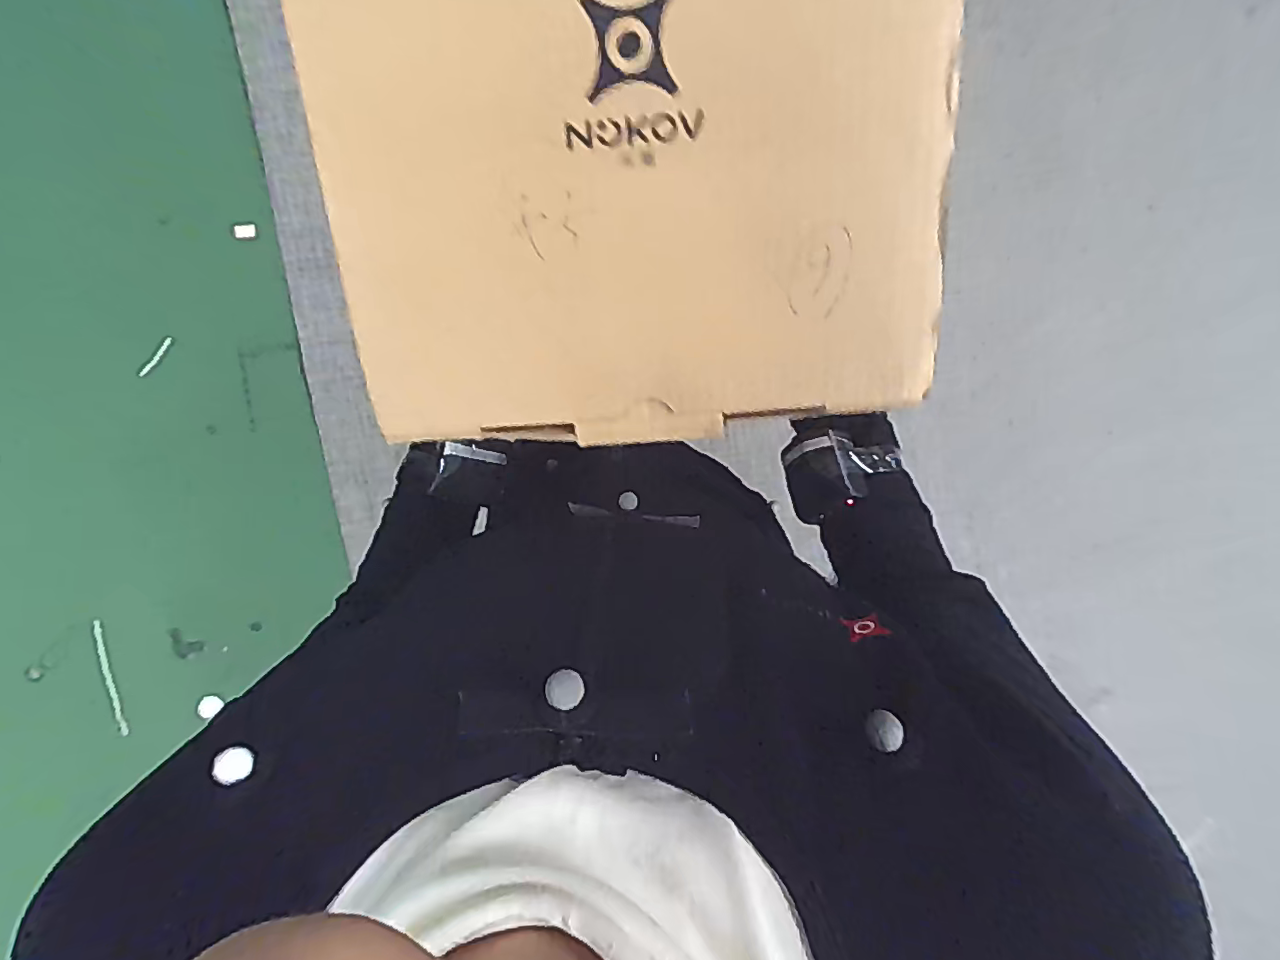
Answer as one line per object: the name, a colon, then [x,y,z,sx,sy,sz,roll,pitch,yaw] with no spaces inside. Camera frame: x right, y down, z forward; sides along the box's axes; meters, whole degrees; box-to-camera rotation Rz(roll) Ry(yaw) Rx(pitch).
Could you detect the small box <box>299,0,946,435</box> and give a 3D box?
small box: [-0.003,-0.126,0.221,0.168,0.176,0.179,-4,109,1]
